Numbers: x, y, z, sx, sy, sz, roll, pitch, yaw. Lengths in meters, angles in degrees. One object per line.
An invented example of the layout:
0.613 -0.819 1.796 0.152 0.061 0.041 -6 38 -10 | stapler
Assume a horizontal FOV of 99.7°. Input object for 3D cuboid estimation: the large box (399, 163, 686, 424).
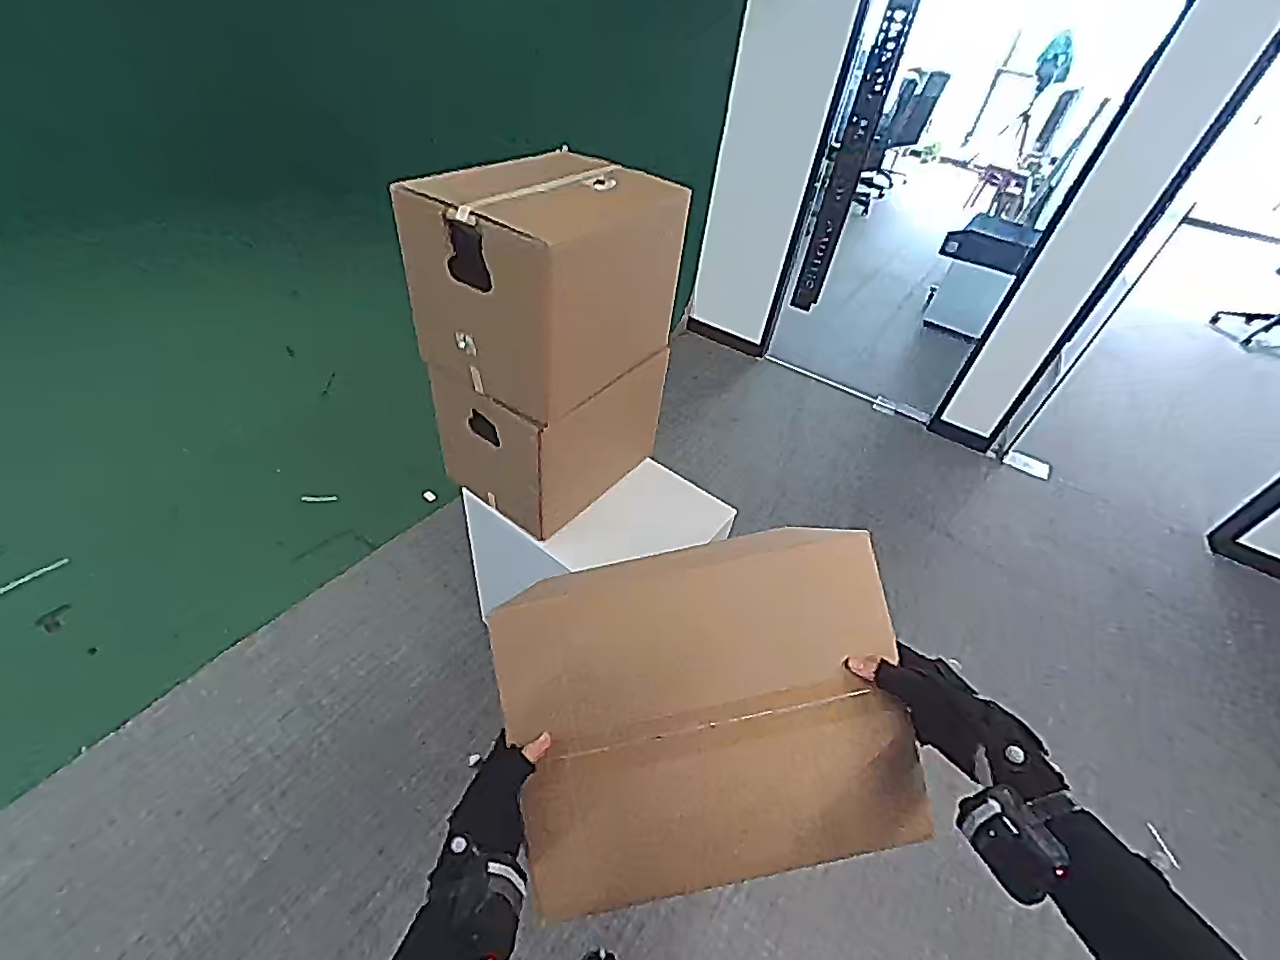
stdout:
-0.160 -0.364 1.005 0.320 0.320 0.408 28 45 20 | large box
